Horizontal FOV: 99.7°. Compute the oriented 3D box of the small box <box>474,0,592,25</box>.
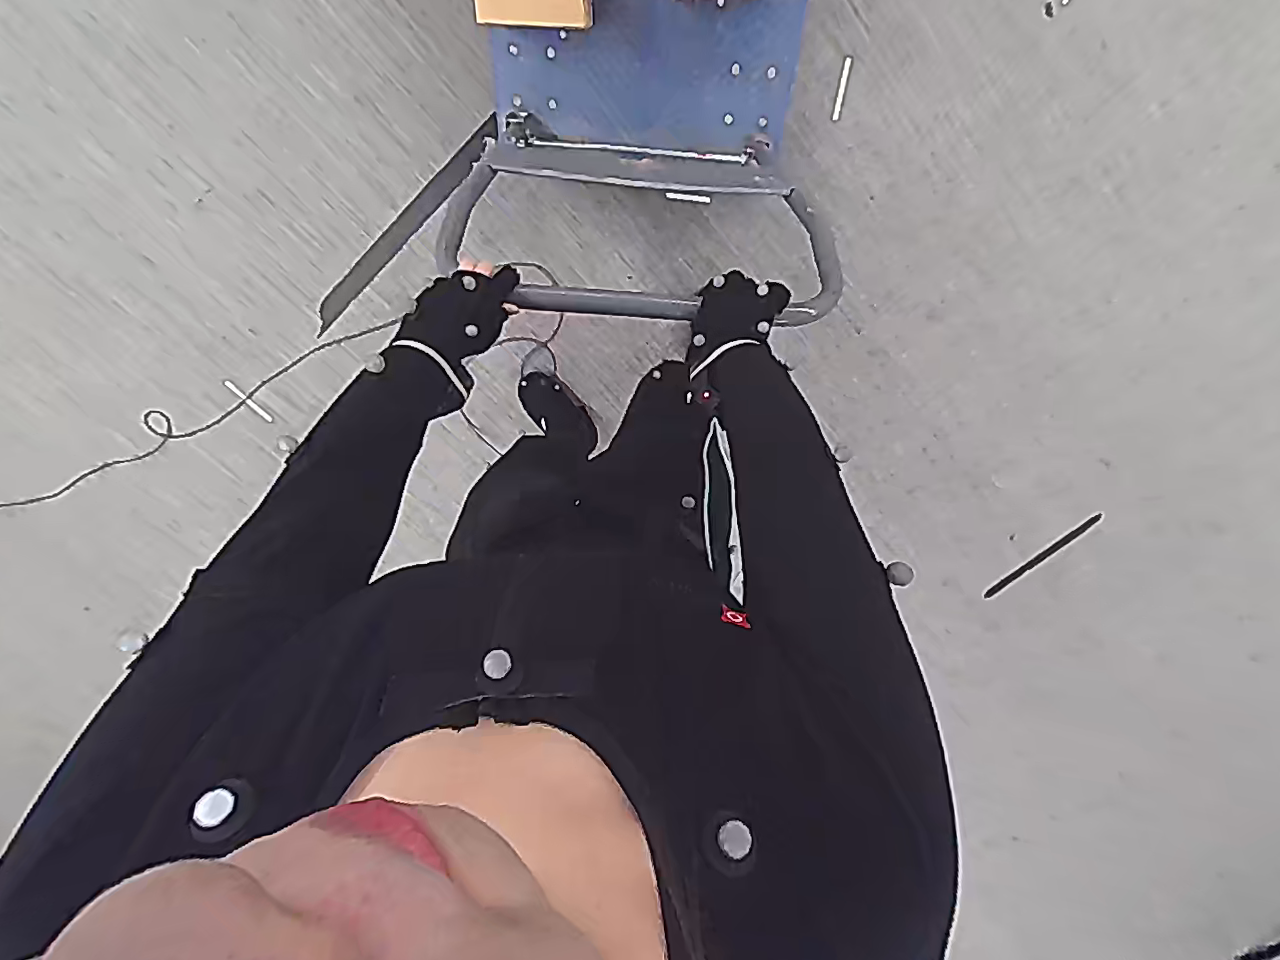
[{"bbox_3d":[-0.171,-0.845,0.869,0.179,0.176,0.168,0,130,-2],"label":"small box"}]
